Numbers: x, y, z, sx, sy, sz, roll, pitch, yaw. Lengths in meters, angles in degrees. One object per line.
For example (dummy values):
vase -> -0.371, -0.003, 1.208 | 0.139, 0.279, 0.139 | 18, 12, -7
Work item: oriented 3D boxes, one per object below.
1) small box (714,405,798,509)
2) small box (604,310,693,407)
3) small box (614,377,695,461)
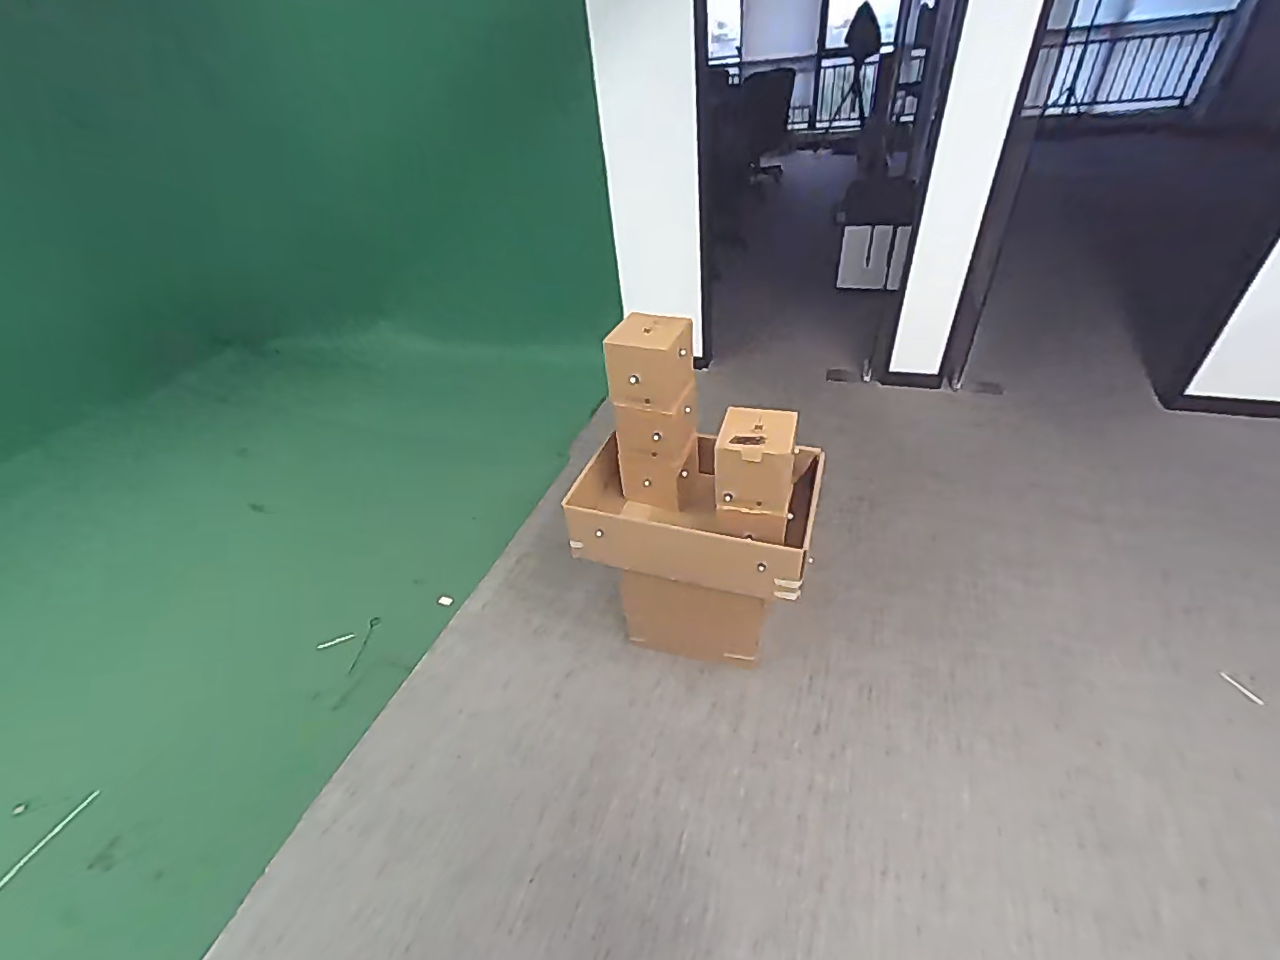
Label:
small box -> 0.273, -0.054, 1.269 | 0.168, 0.176, 0.179 | 8, 42, 17
small box -> 0.029, -0.301, 1.346 | 0.168, 0.176, 0.179 | 14, 44, 20
small box -> 0.046, -0.172, 1.446 | 0.168, 0.176, 0.179 | 12, 43, 19
